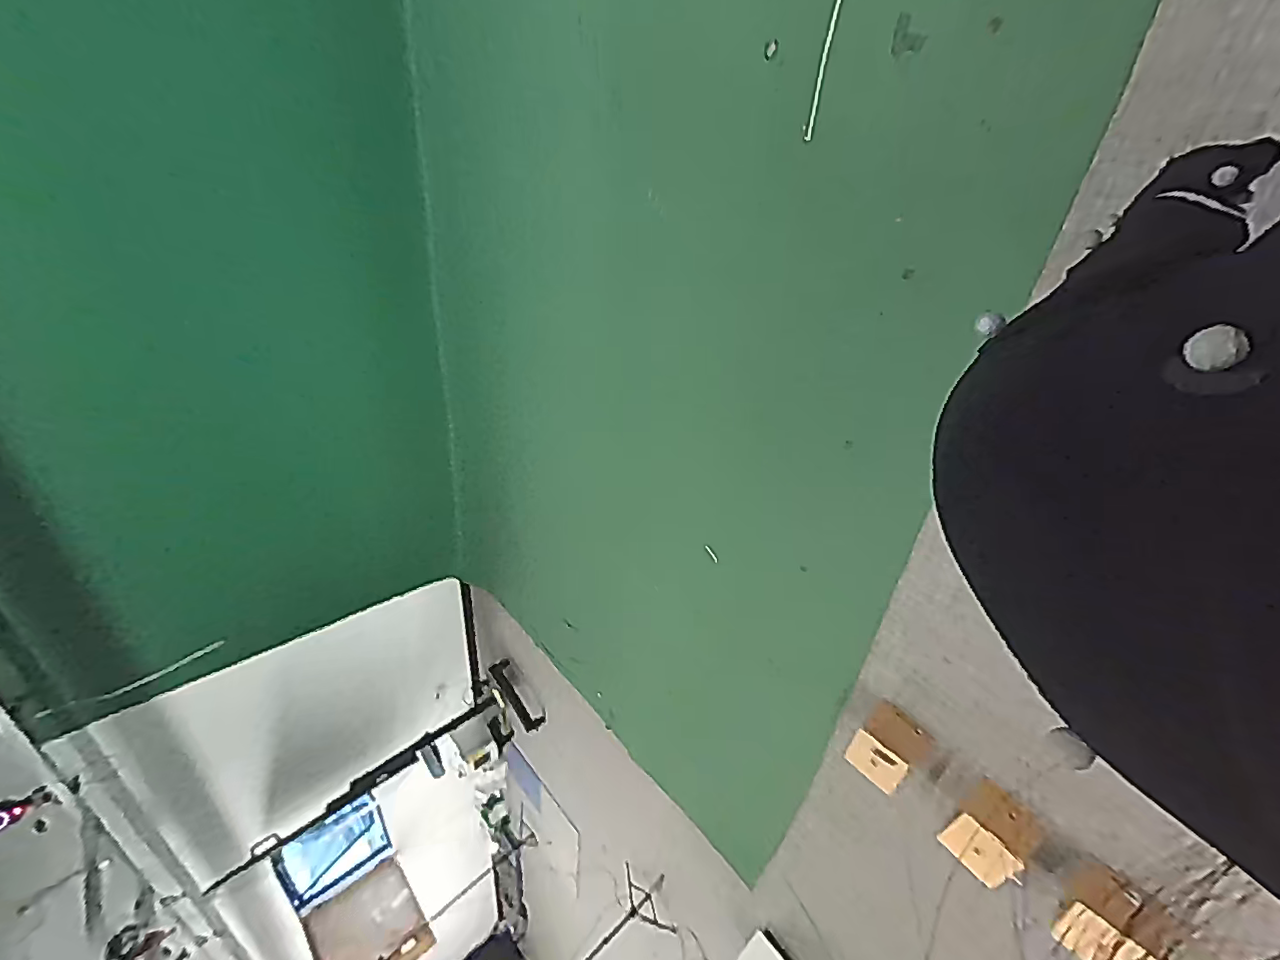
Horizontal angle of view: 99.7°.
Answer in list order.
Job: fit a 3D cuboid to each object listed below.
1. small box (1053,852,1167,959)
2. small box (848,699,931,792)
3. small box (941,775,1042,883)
[{"bbox_3d":[1.218,1.125,1.398,0.168,0.176,0.179,29,126,37],"label":"small box"},{"bbox_3d":[0.814,0.855,1.757,0.168,0.176,0.179,35,132,36],"label":"small box"},{"bbox_3d":[1.026,1.011,1.576,0.168,0.176,0.179,39,133,33],"label":"small box"}]
